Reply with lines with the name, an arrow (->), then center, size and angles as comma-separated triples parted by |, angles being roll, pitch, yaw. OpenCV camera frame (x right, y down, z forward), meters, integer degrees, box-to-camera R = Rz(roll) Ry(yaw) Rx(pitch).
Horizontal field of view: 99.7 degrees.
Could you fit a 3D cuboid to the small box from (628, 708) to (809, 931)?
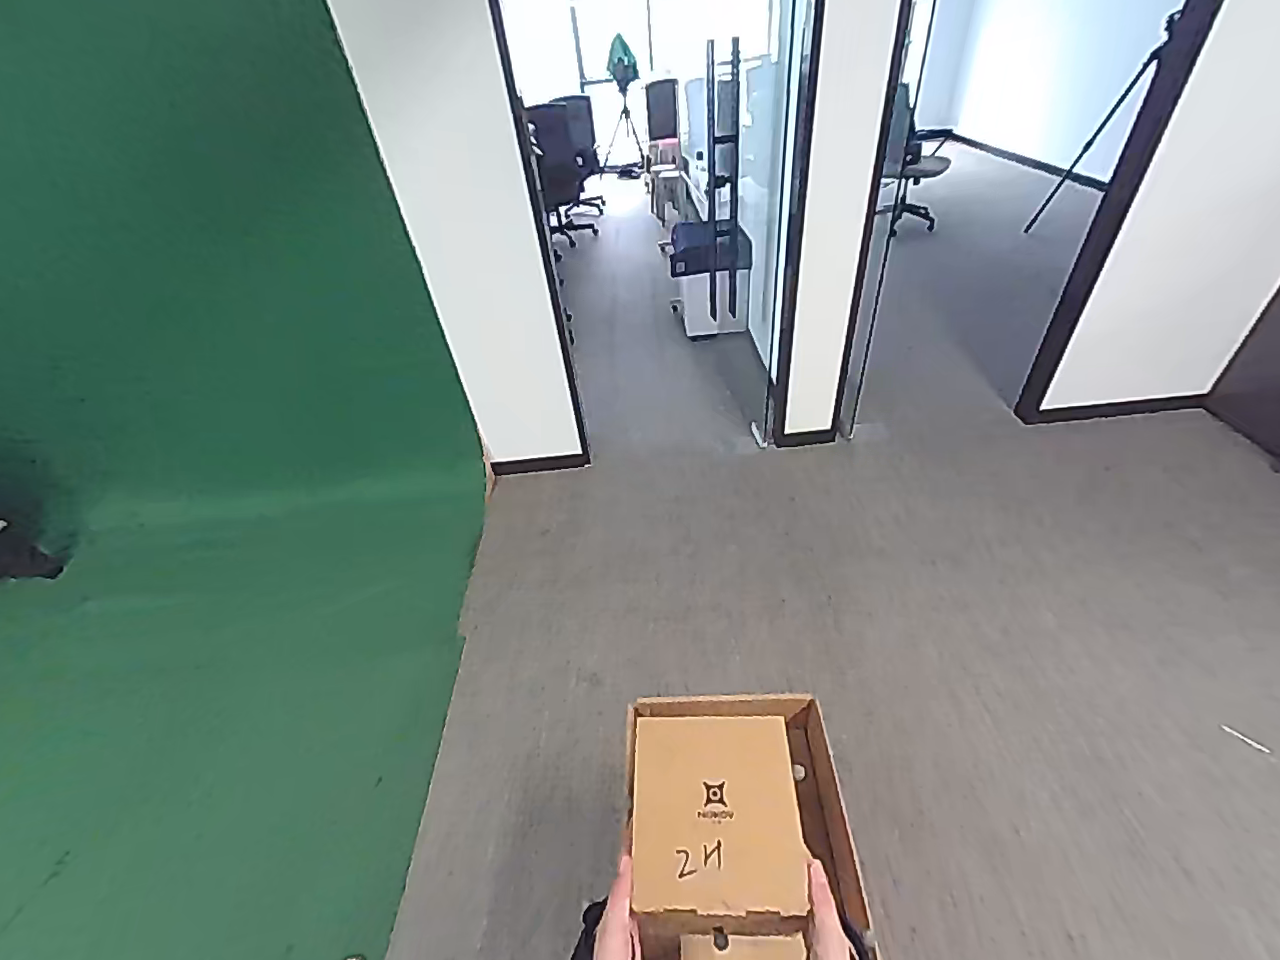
small box -> 0.082, 0.374, 0.600 | 0.168, 0.176, 0.179 | -3, 45, 6
